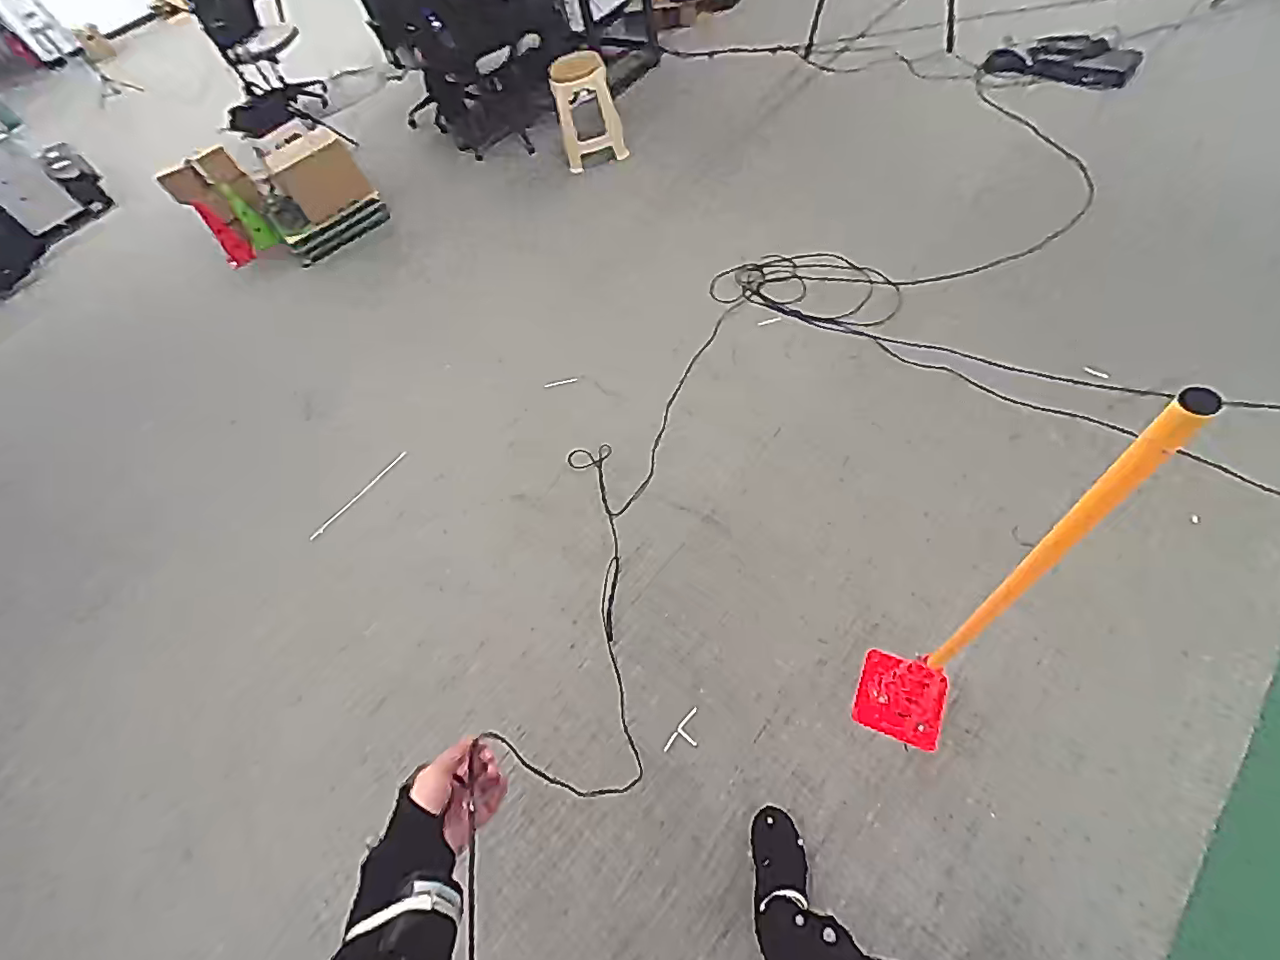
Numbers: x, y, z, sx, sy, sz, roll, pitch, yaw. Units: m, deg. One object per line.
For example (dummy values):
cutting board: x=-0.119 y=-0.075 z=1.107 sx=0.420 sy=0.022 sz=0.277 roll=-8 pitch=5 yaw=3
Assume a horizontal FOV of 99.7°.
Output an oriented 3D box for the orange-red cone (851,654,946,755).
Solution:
orange-red cone: x=0.622 y=0.469 z=1.229 sx=0.198 sy=0.360 sz=0.199 roll=18 pitch=62 yaw=23
